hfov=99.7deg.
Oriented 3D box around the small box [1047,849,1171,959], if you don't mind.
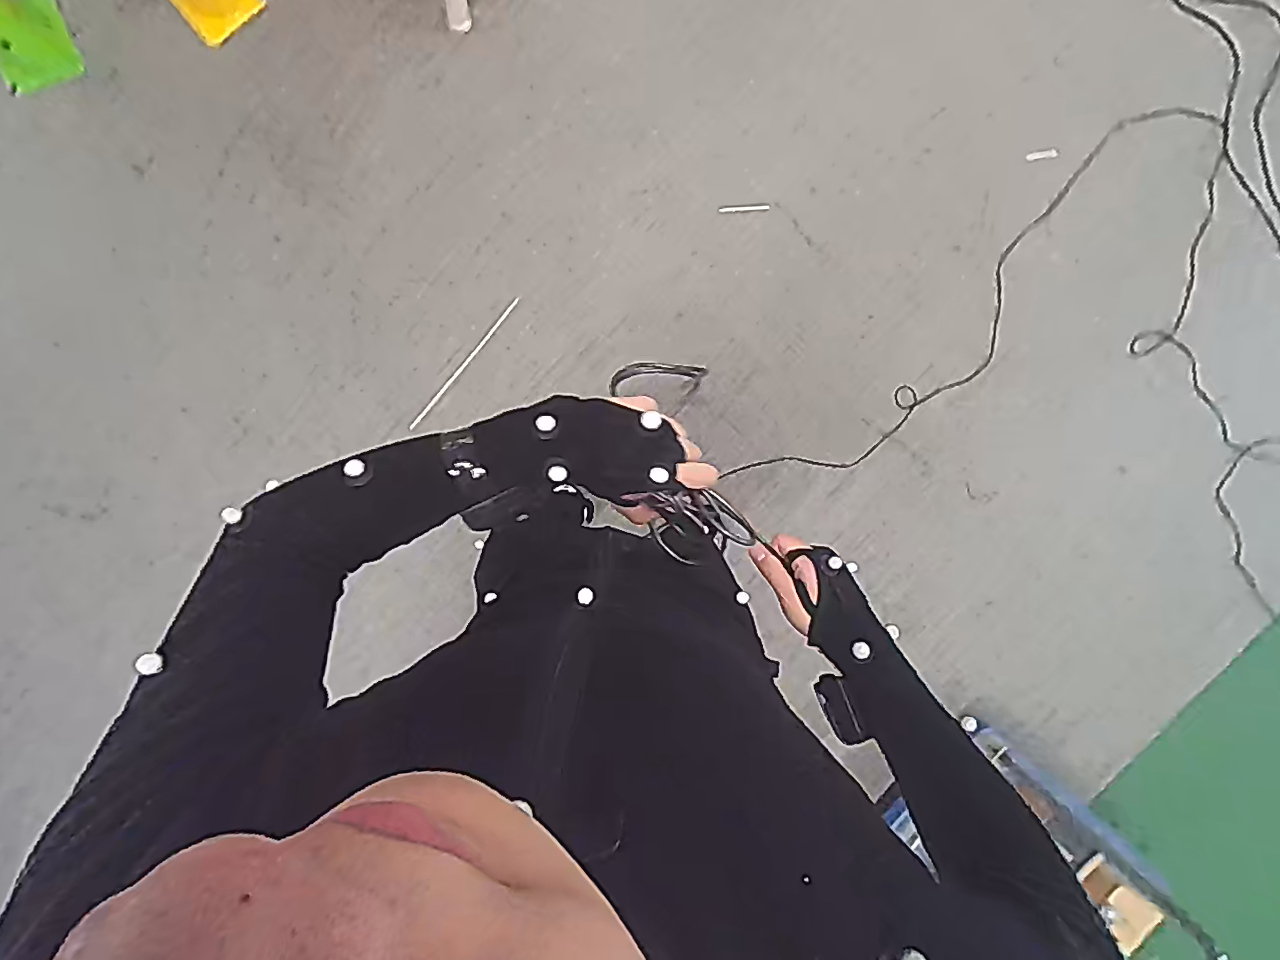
[{"bbox_3d":[1.349,1.223,1.569,0.179,0.176,0.168,36,94,-6],"label":"small box"}]
